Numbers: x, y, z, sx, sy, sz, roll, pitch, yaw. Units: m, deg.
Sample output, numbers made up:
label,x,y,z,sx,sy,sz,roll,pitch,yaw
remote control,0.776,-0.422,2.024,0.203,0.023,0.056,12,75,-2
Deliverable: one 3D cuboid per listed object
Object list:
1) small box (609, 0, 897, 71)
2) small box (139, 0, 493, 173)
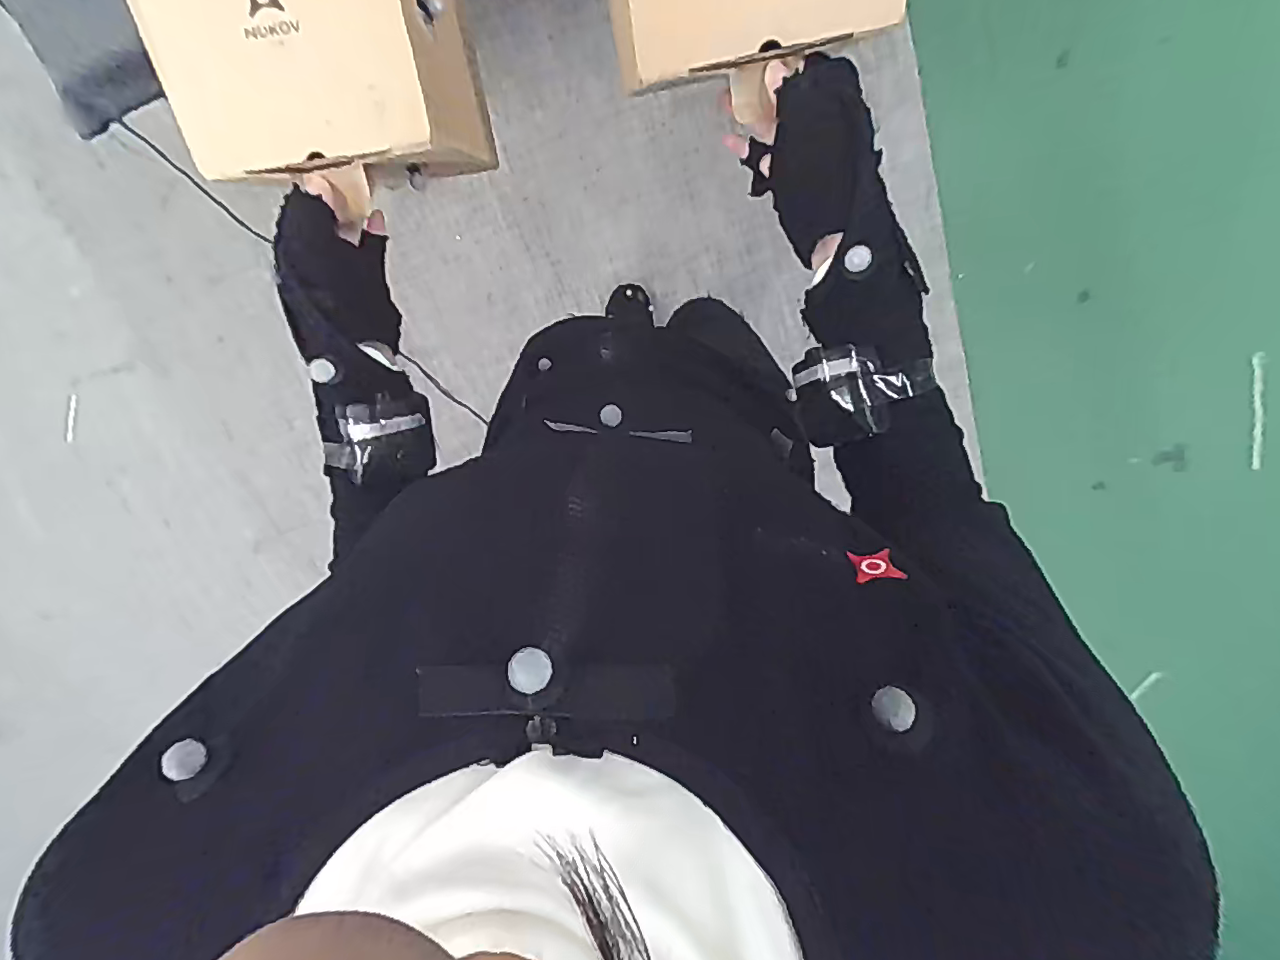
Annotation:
label,x,y,z,sx,sy,sz,roll,pitch,yaw
small box,0.058,-0.387,0.351,0.168,0.176,0.179,-12,124,0
small box,-0.222,-0.335,0.395,0.168,0.176,0.179,-7,114,3
